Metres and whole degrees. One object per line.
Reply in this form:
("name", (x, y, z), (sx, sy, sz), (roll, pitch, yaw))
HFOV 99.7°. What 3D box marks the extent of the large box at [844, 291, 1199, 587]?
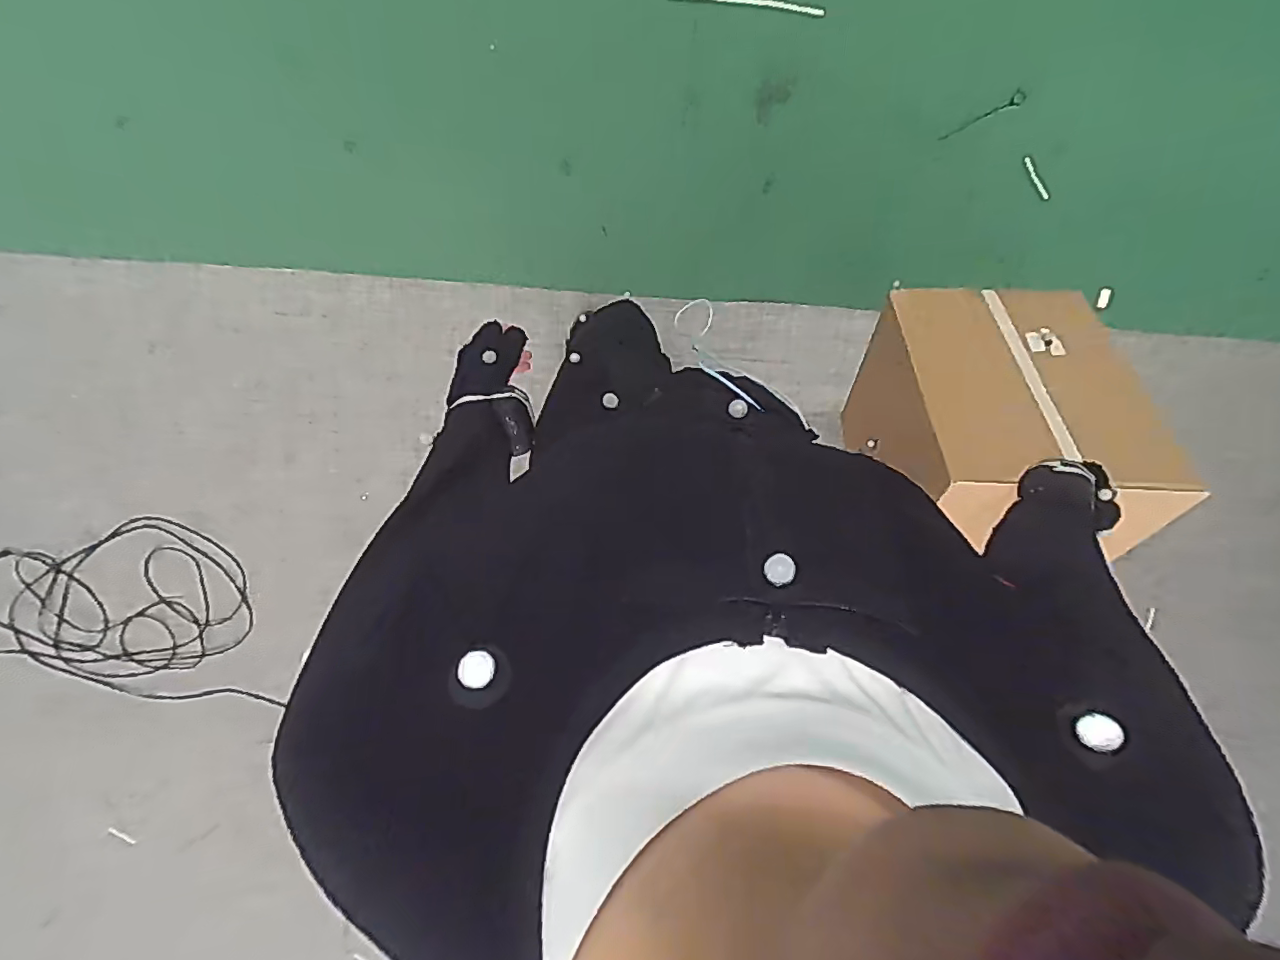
("large box", (0.565, -0.066, 0.917), (0.320, 0.408, 0.320), (3, 144, 4))
